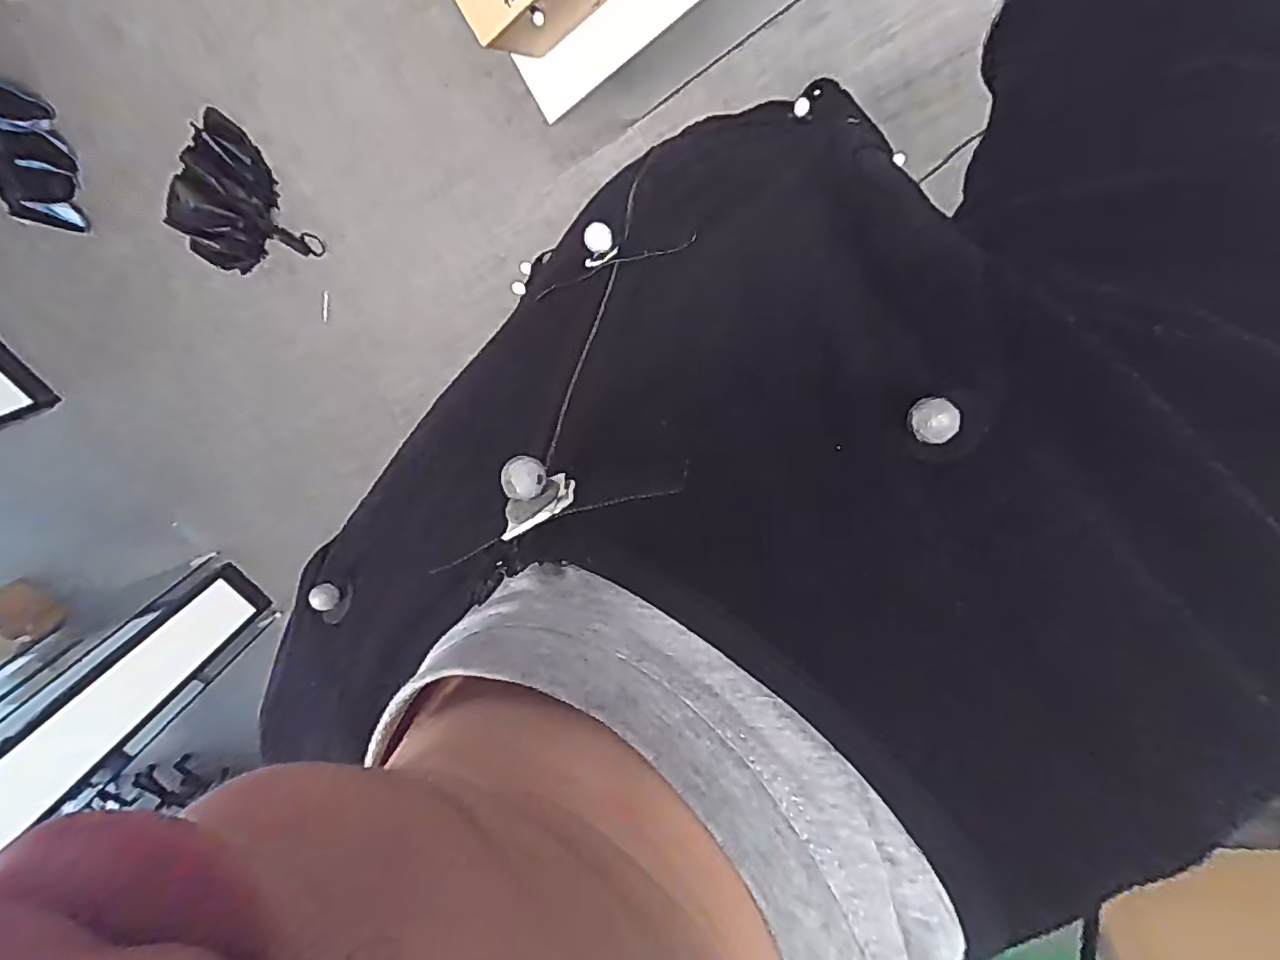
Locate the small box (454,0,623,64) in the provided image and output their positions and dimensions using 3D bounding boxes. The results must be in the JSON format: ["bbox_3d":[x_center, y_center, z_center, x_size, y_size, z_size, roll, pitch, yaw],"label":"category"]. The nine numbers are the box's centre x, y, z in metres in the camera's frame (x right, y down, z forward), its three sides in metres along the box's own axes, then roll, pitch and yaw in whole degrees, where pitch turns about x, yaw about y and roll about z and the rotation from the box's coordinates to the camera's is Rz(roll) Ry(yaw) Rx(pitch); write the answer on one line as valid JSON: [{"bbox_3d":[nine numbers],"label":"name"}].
[{"bbox_3d":[-0.128,-0.605,0.595,0.168,0.176,0.179,-22,114,26],"label":"small box"}]
